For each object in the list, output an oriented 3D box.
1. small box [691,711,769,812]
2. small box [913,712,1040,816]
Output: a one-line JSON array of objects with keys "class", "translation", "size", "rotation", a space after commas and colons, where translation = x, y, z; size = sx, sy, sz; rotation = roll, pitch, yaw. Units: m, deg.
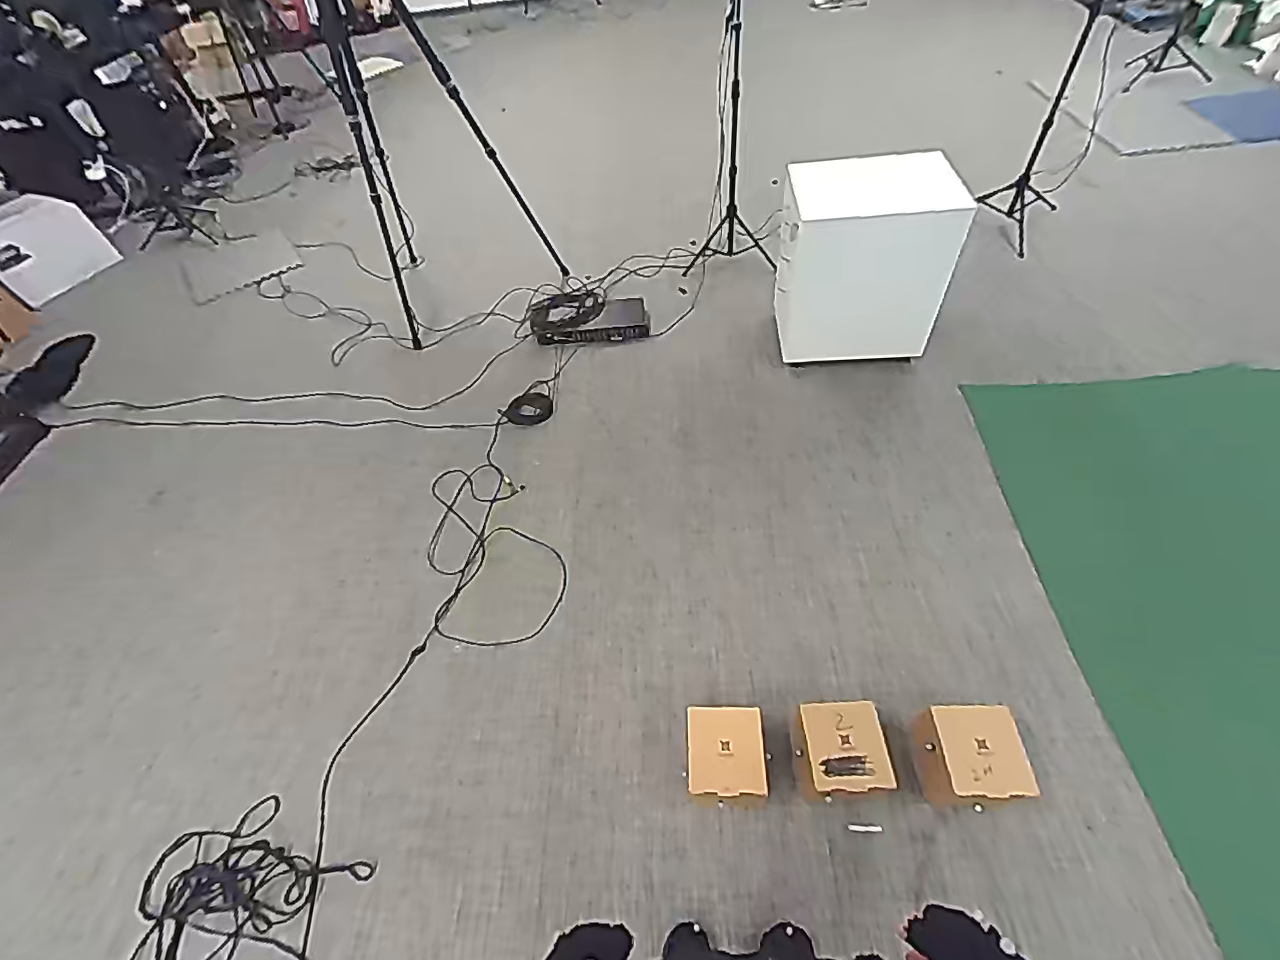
[{"class": "small box", "translation": [0.201, 0.651, 1.250], "size": [0.168, 0.176, 0.179], "rotation": [-2, 52, 7]}, {"class": "small box", "translation": [0.728, 0.629, 1.196], "size": [0.168, 0.176, 0.179], "rotation": [-2, 52, 7]}]
